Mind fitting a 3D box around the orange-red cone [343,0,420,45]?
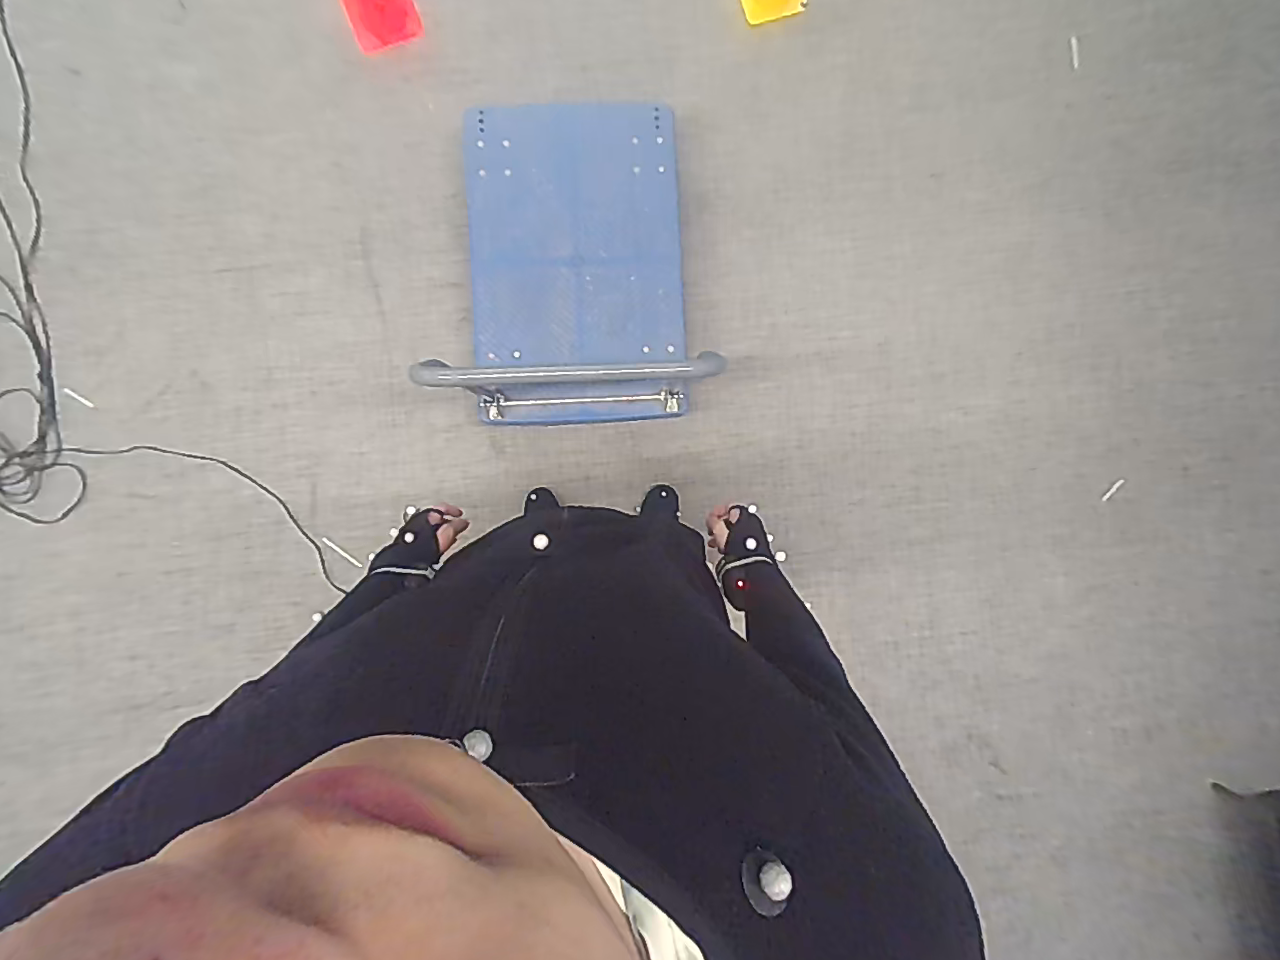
[{"bbox_3d":[-0.767,-1.409,1.438,0.199,0.360,0.198,-21,90,-1],"label":"orange-red cone"}]
